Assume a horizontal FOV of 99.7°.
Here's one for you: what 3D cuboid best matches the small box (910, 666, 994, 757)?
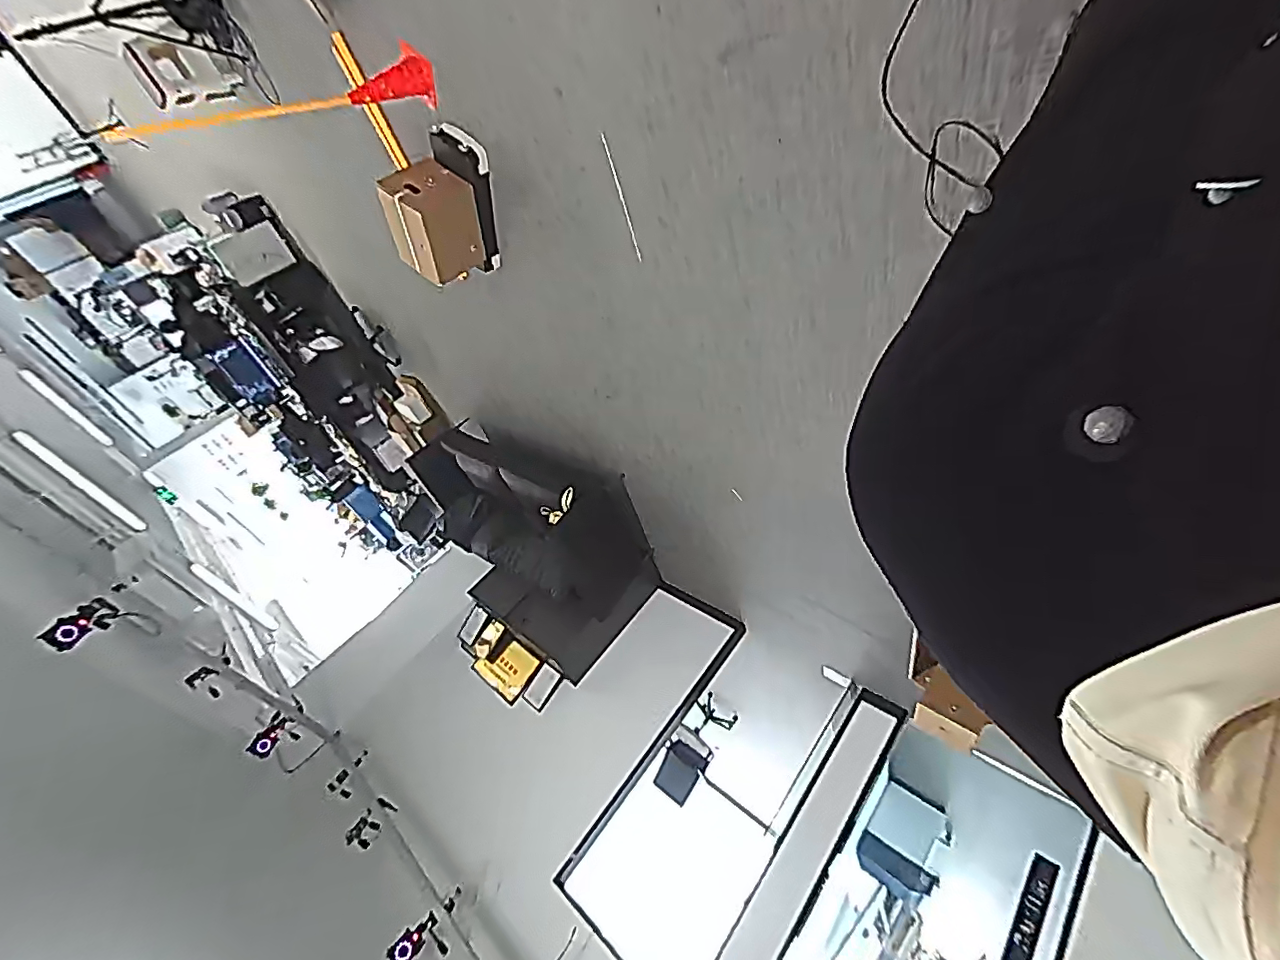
[{"bbox_3d":[0.983,0.722,1.702,0.179,0.176,0.168,24,146,37],"label":"small box"}]
